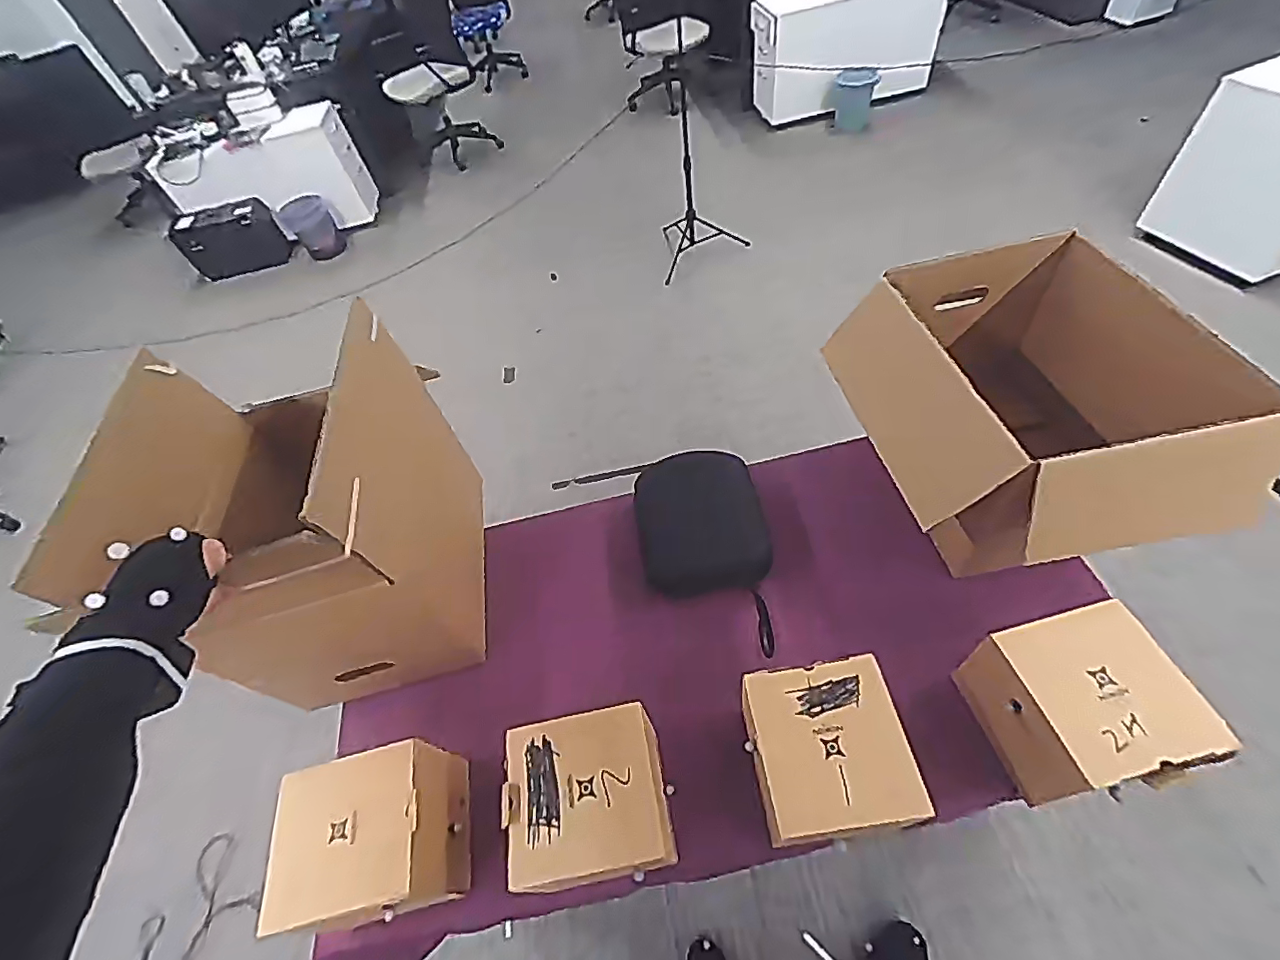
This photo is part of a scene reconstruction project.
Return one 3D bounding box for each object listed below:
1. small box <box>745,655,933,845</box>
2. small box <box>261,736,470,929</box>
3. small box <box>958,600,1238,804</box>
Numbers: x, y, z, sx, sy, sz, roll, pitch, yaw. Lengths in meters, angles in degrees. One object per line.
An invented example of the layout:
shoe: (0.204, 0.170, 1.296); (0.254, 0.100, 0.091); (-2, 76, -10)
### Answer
small box: (0.231, 0.345, 0.684); (0.168, 0.176, 0.179); (-11, 53, 3)
small box: (-0.338, 0.459, 0.705); (0.179, 0.176, 0.168); (-15, 53, -2)
small box: (0.537, 0.280, 0.673); (0.168, 0.176, 0.179); (-16, 53, 1)
